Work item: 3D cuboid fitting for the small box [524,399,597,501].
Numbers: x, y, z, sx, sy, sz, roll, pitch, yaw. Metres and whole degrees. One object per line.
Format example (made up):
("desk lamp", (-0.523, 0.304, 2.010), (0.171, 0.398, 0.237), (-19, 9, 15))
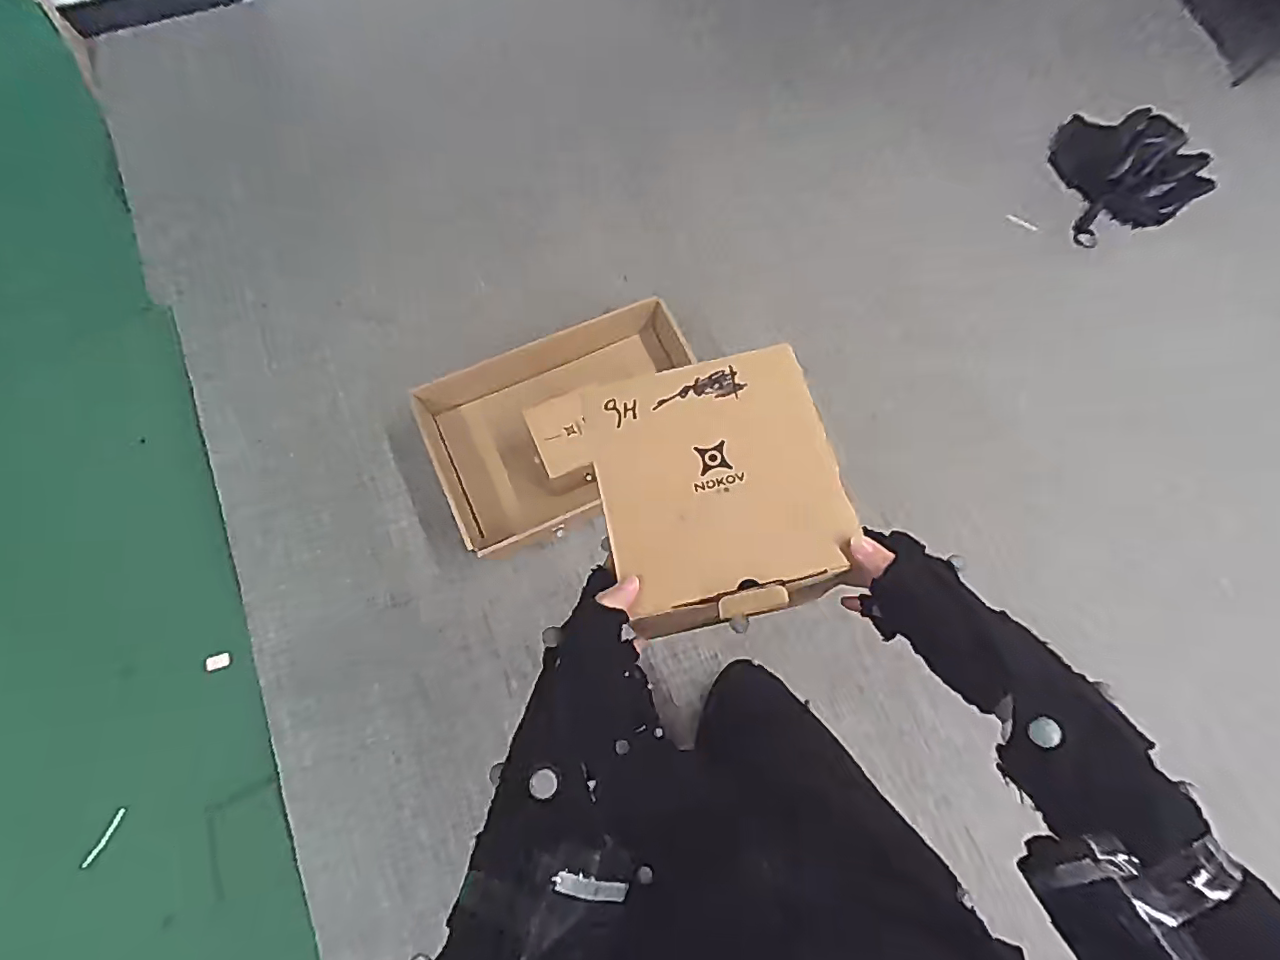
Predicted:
("small box", (-0.146, -0.069, 1.240), (0.179, 0.176, 0.168), (-22, 77, -8))

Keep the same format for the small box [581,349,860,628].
("small box", (0.057, 0.022, 0.461), (0.168, 0.176, 0.179), (-13, 69, -1))
